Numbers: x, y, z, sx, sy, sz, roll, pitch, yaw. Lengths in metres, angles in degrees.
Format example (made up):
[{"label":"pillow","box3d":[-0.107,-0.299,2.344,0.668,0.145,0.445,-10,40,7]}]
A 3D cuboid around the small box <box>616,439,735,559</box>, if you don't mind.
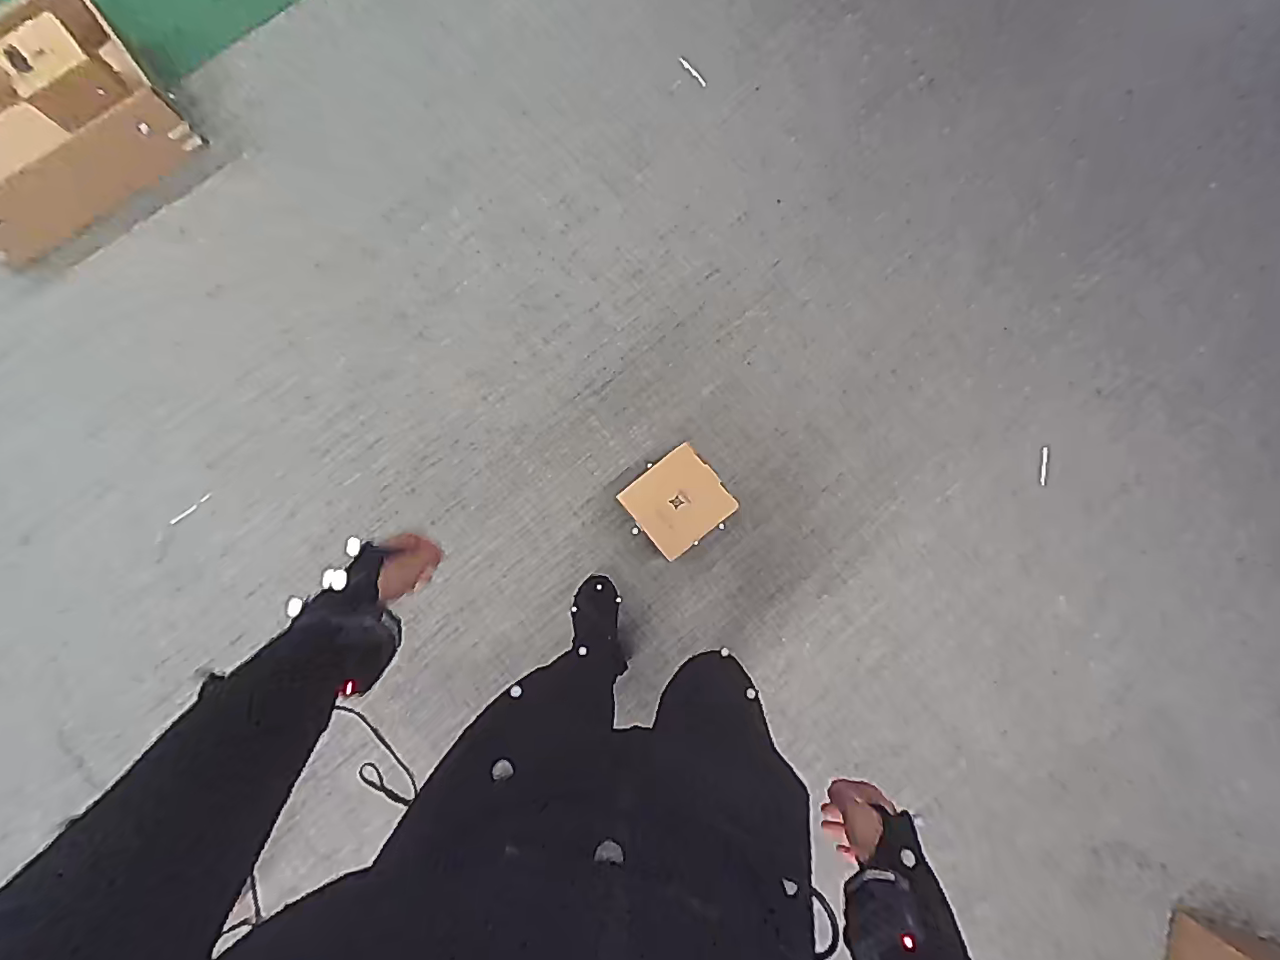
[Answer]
[{"label":"small box","box3d":[0.068,0.044,1.115,0.179,0.176,0.168,-39,83,-4]}]
